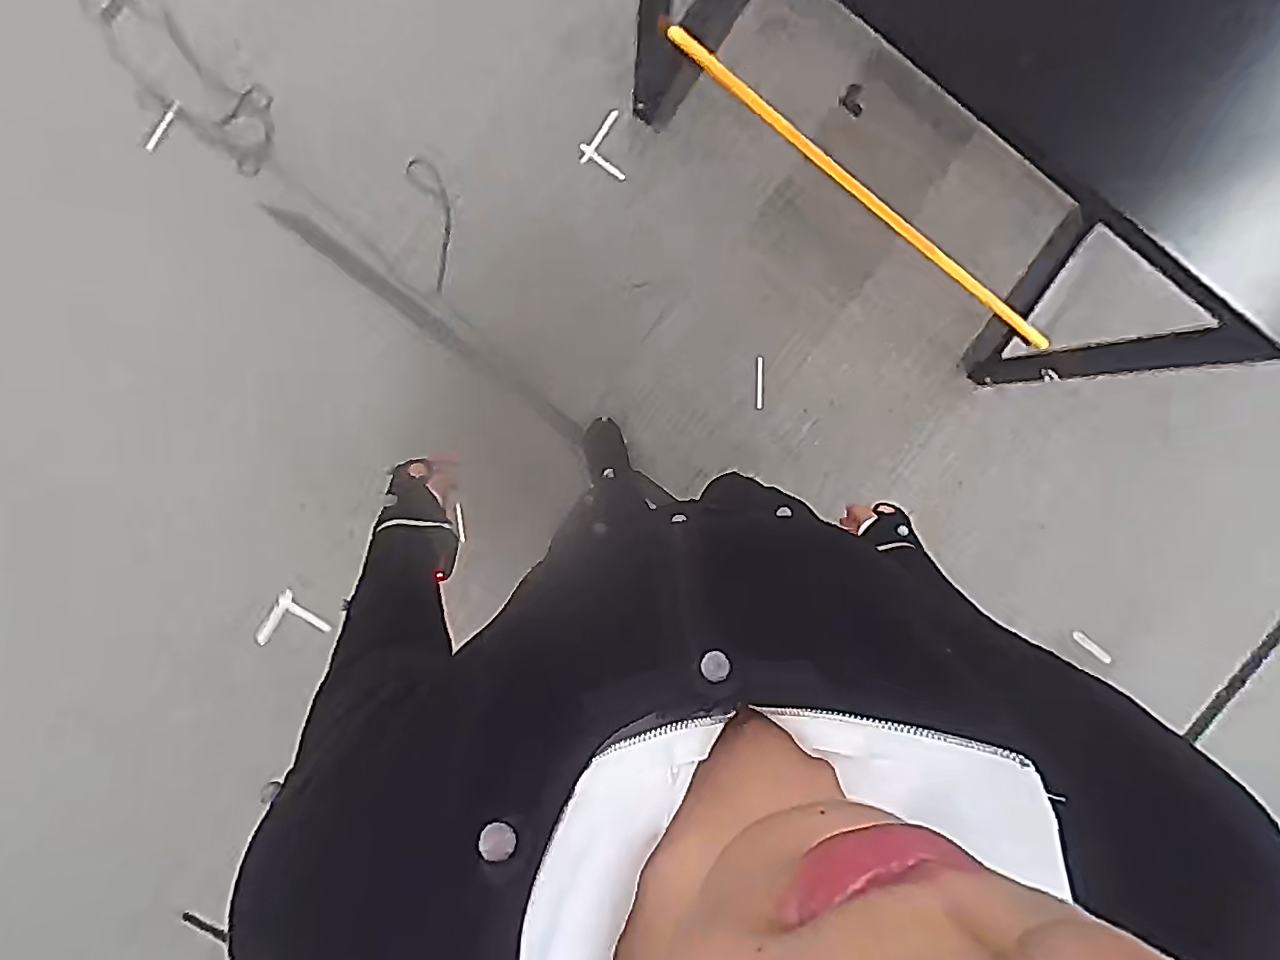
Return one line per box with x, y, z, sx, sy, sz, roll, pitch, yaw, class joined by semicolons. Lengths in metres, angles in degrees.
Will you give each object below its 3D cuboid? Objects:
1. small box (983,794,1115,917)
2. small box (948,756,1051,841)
1.058;0.969;1.413;0.179;0.176;0.168;34;93;-4;small box
1.048;0.952;1.575;0.168;0.176;0.179;38;95;-6;small box
